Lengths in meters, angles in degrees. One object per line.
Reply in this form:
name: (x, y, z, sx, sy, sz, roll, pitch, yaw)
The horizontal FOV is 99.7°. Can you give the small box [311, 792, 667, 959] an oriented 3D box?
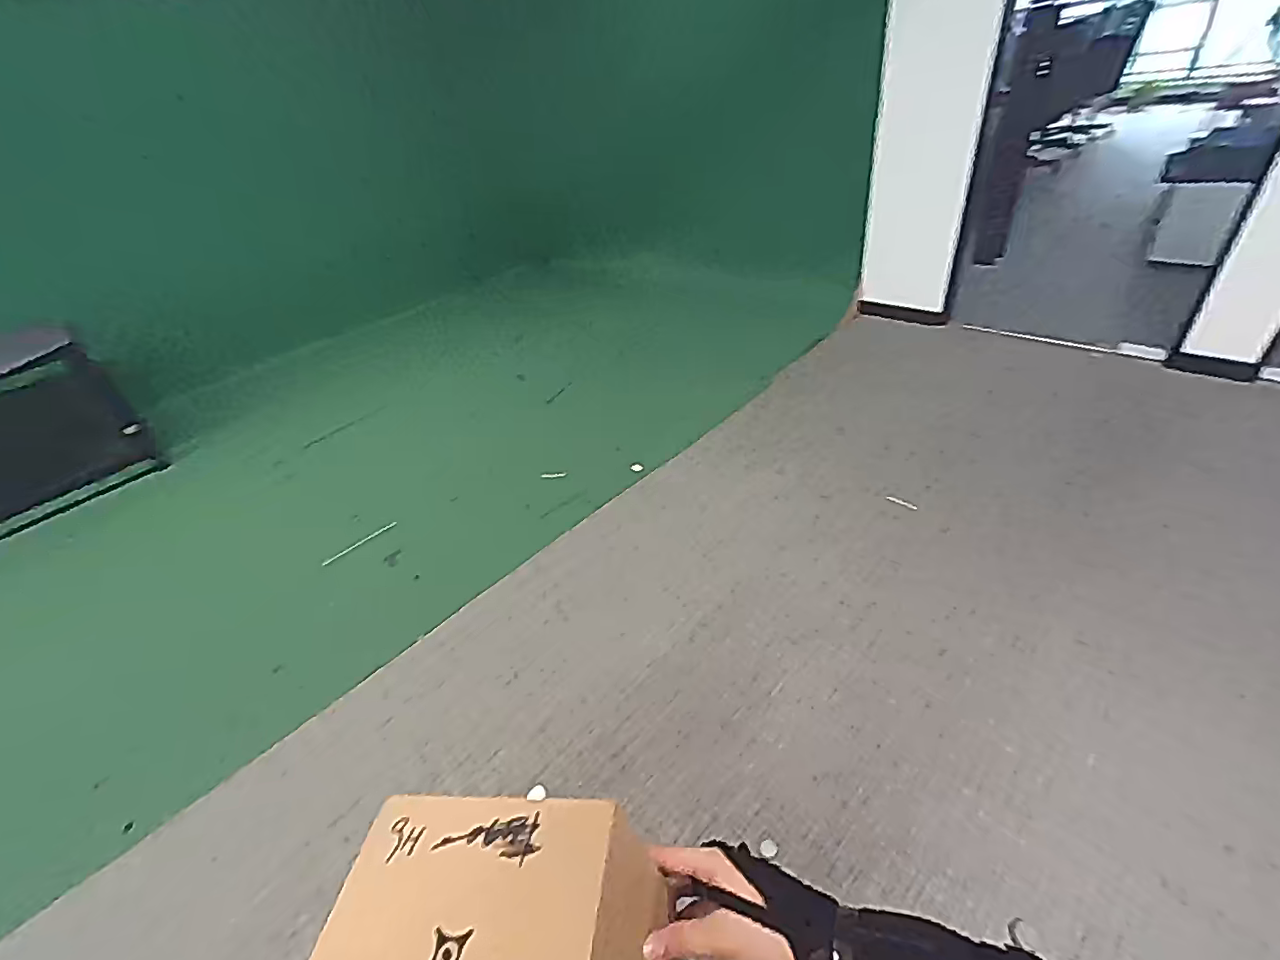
small box: (-0.085, 0.320, 0.331, 0.168, 0.176, 0.179, -8, 38, 15)
